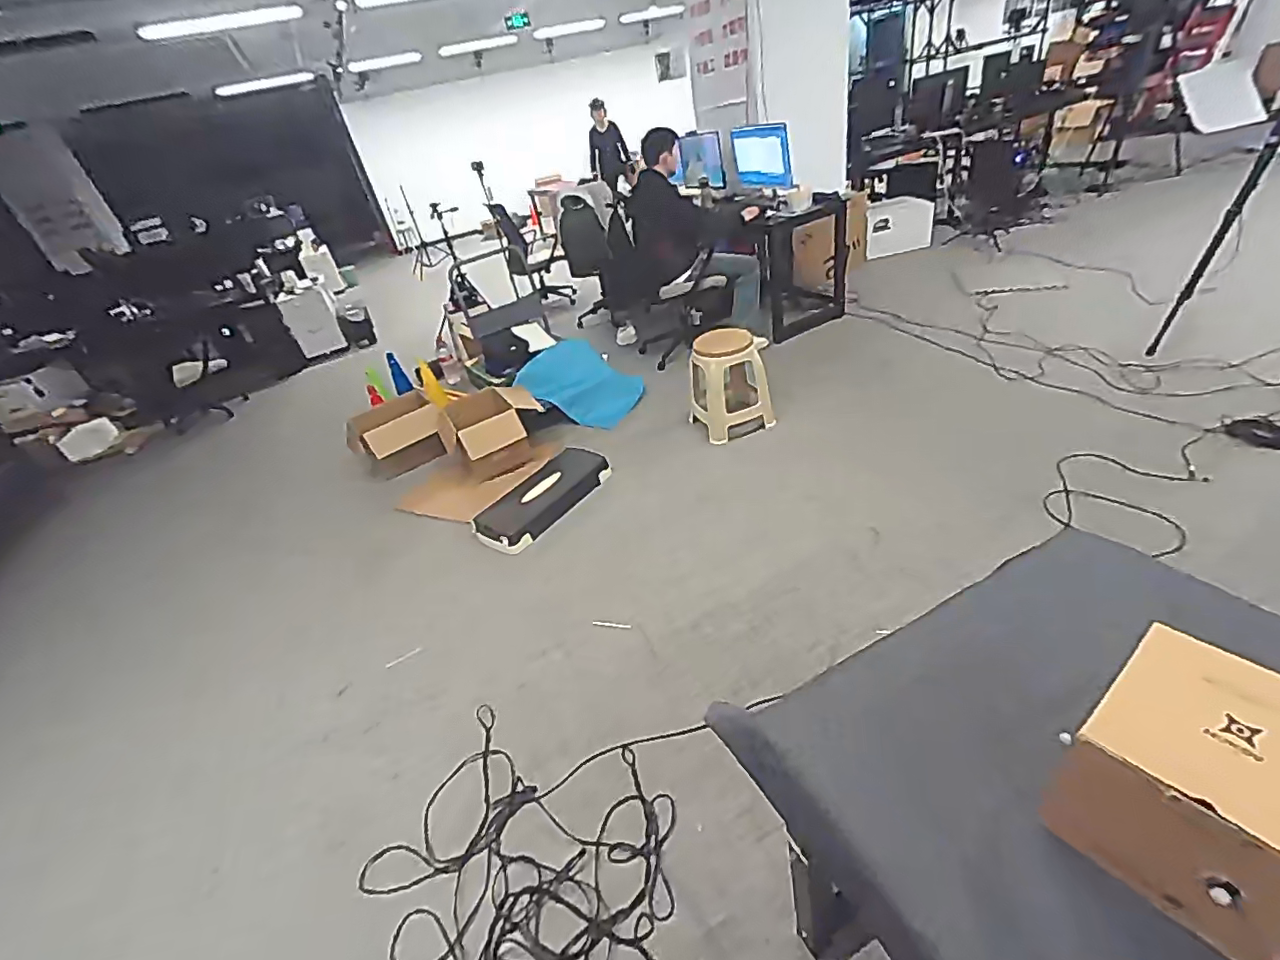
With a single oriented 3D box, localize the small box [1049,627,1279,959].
[{"bbox_3d":[0.514,0.281,0.496,0.179,0.176,0.168,-30,38,-26],"label":"small box"}]
